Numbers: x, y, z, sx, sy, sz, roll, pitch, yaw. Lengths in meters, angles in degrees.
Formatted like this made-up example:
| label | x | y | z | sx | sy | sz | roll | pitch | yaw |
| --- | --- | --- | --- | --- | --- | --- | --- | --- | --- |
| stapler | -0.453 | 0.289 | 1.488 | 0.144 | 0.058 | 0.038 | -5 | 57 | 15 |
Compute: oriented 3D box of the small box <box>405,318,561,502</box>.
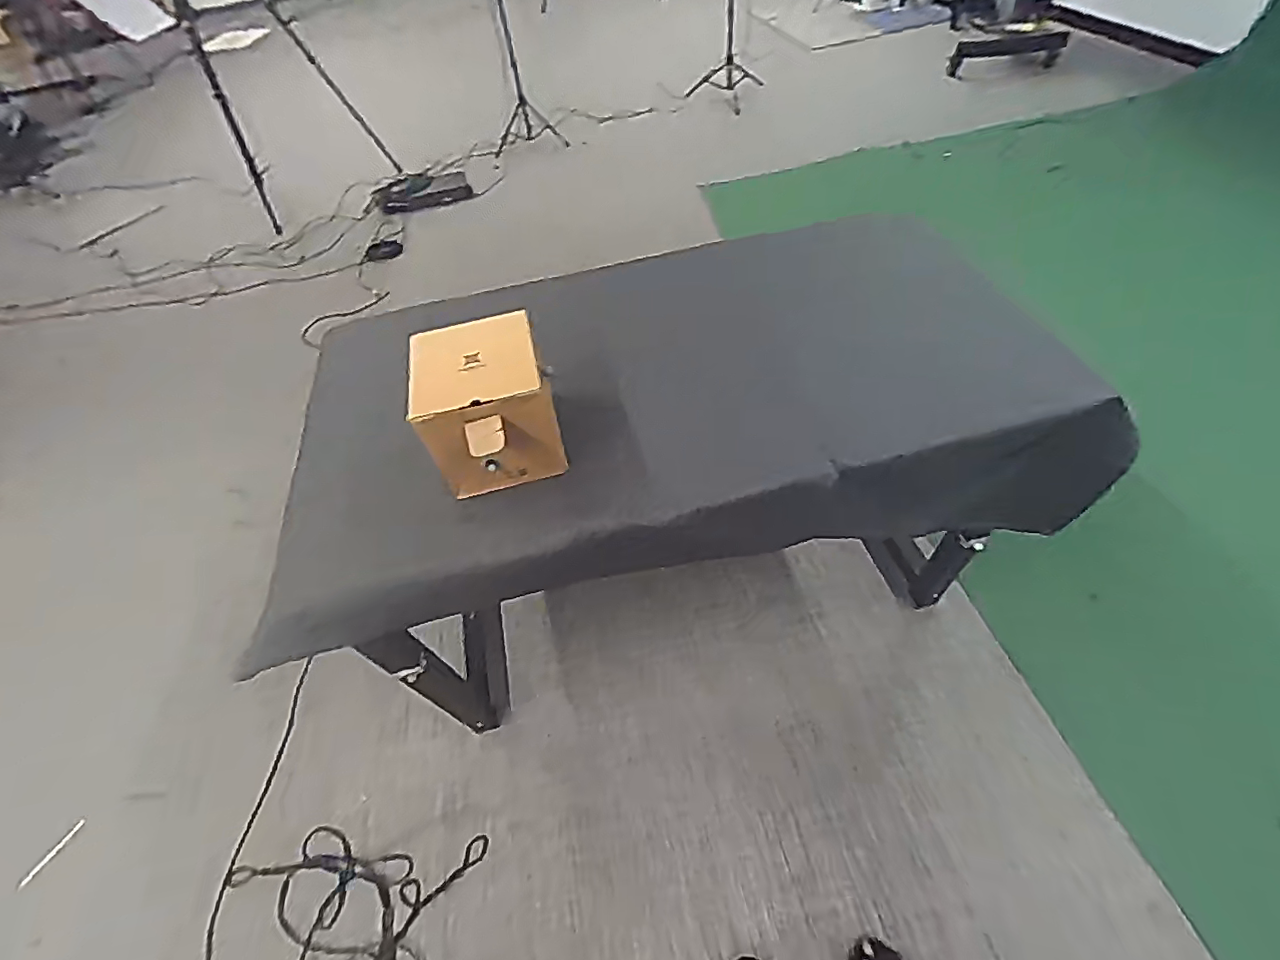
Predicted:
| label | x | y | z | sx | sy | sz | roll | pitch | yaw |
| --- | --- | --- | --- | --- | --- | --- | --- | --- | --- |
| small box | -0.218 | -0.098 | 0.770 | 0.168 | 0.176 | 0.179 | -15 | 53 | -5 |
